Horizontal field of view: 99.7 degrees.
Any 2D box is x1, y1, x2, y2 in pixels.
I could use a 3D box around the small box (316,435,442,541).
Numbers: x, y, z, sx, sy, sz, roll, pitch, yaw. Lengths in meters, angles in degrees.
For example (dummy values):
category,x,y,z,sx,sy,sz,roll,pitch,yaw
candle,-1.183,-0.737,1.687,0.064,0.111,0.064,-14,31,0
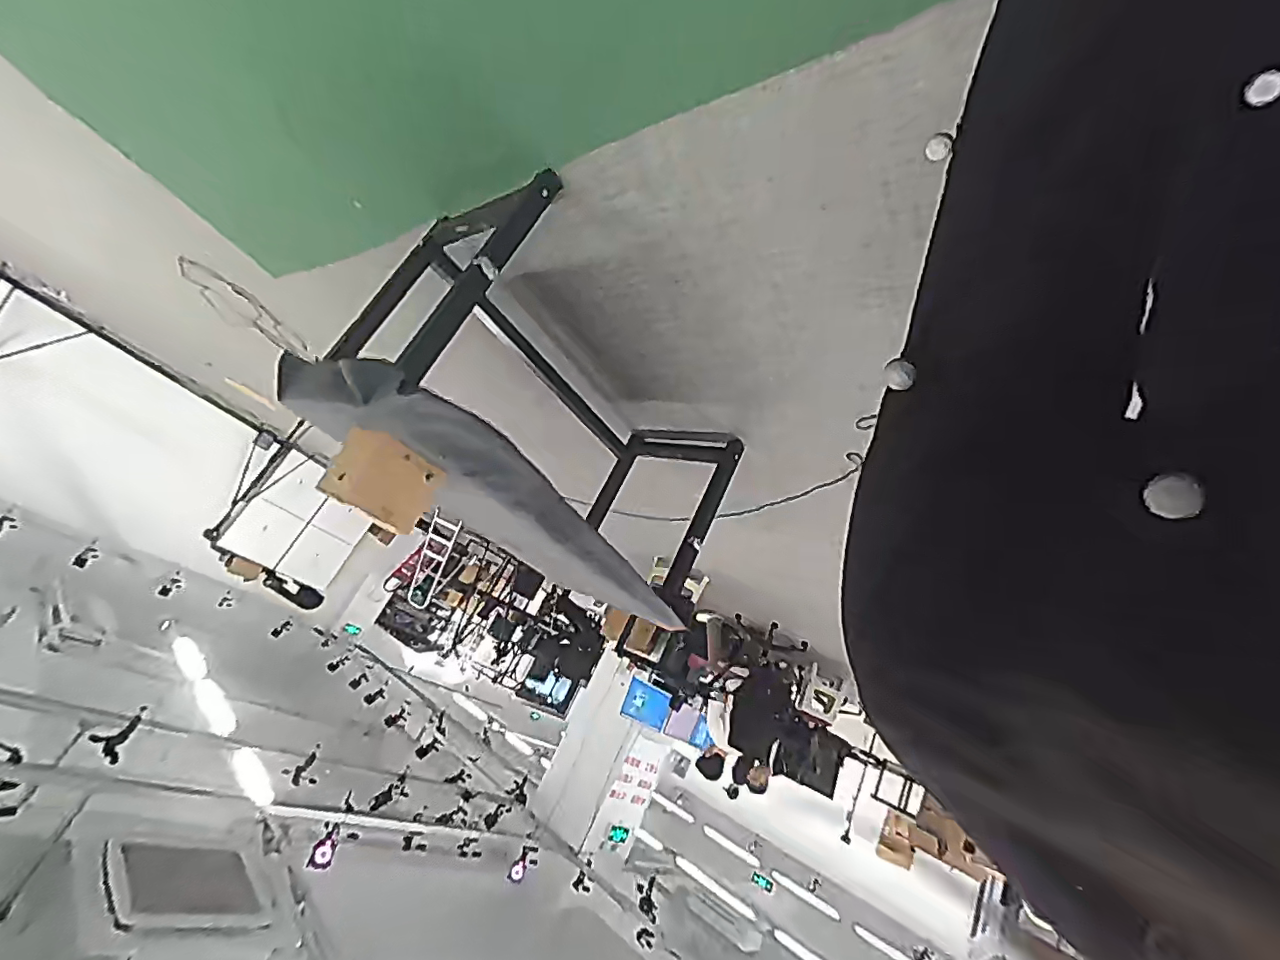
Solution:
category,x,y,z,sx,sy,sz,roll,pitch,yaw
small box,-0.580,0.014,1.221,0.179,0.176,0.168,11,155,42
